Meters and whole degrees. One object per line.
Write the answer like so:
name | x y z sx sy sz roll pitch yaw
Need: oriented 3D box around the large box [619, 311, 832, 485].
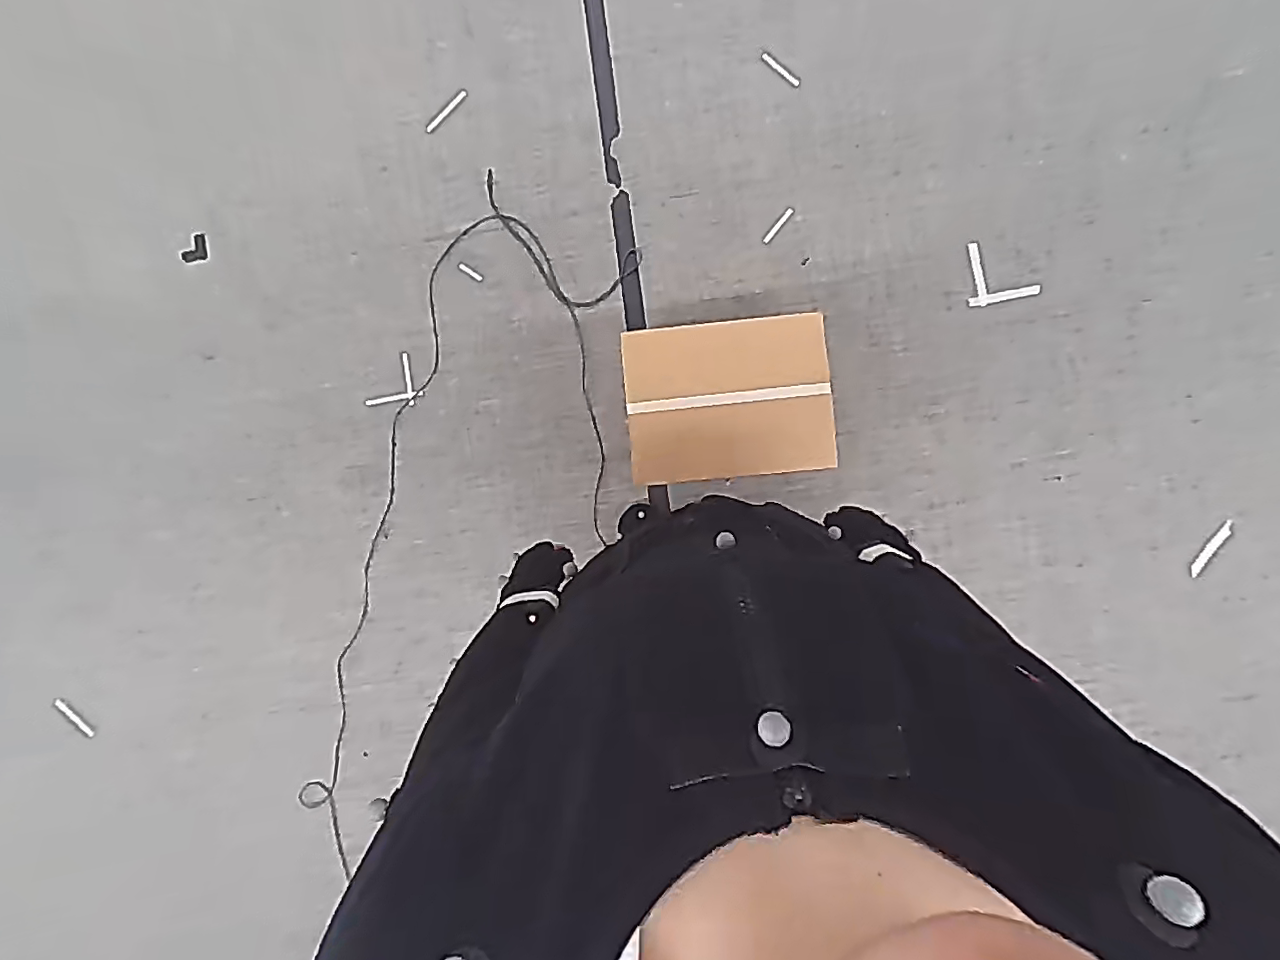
large box | 0.174 -0.162 1.229 0.408 0.320 0.320 -5 90 2
